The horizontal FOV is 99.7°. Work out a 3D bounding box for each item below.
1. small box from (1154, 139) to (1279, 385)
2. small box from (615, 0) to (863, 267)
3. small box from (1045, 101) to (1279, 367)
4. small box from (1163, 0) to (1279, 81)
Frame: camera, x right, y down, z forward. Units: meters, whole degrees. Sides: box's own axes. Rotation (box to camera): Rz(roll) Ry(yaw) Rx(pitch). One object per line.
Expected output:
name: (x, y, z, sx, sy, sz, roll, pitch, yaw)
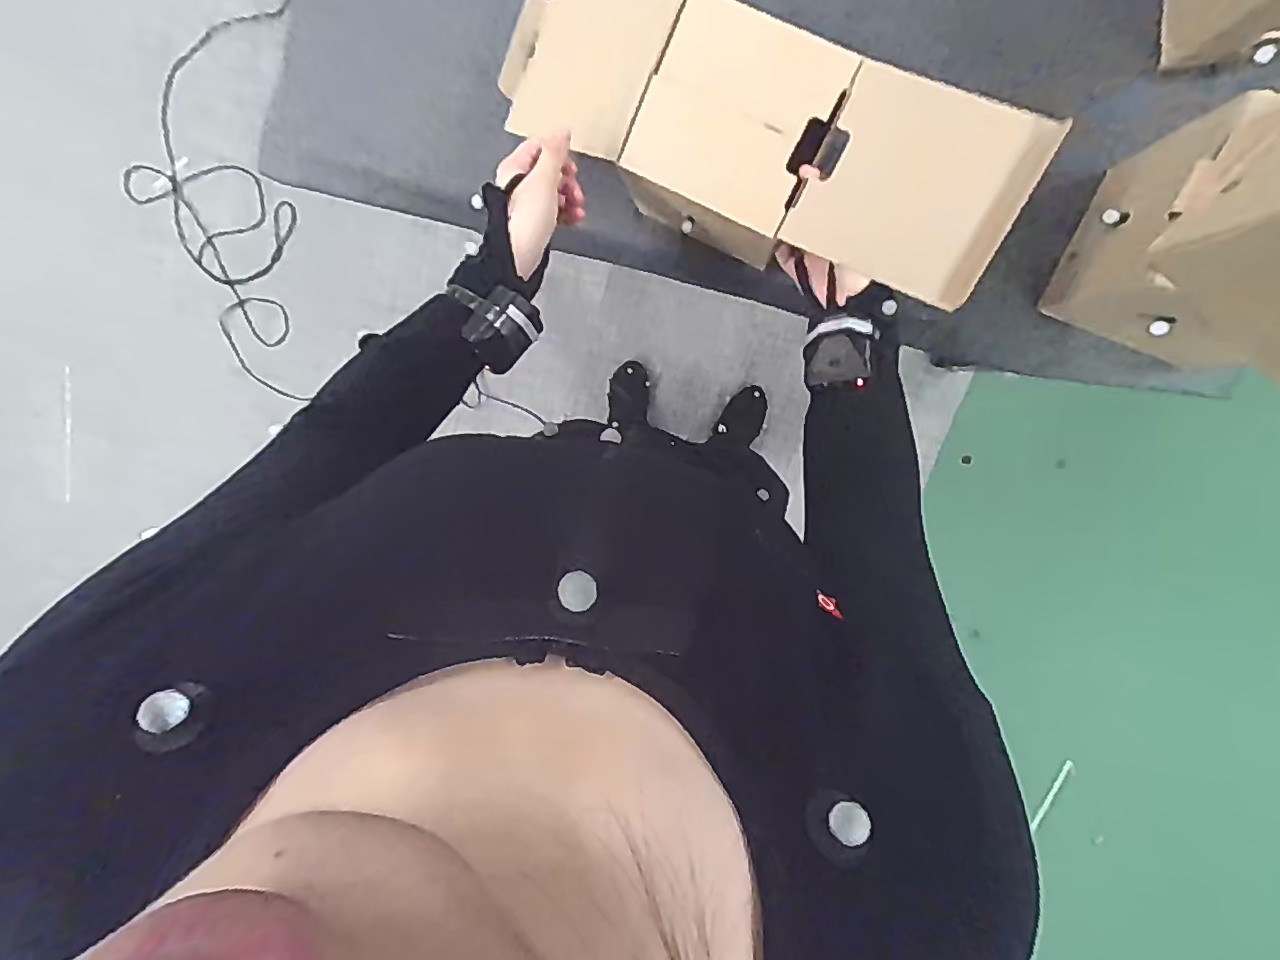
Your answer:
small box: (0.537, -0.177, 0.375, 0.179, 0.176, 0.168, 44, 101, -2)
small box: (0.100, -0.345, 0.574, 0.179, 0.176, 0.168, 28, 104, 4)
small box: (0.559, -0.218, 0.532, 0.179, 0.176, 0.168, 23, 101, 4)
small box: (0.612, -0.497, 0.470, 0.168, 0.176, 0.179, -4, 103, 12)
